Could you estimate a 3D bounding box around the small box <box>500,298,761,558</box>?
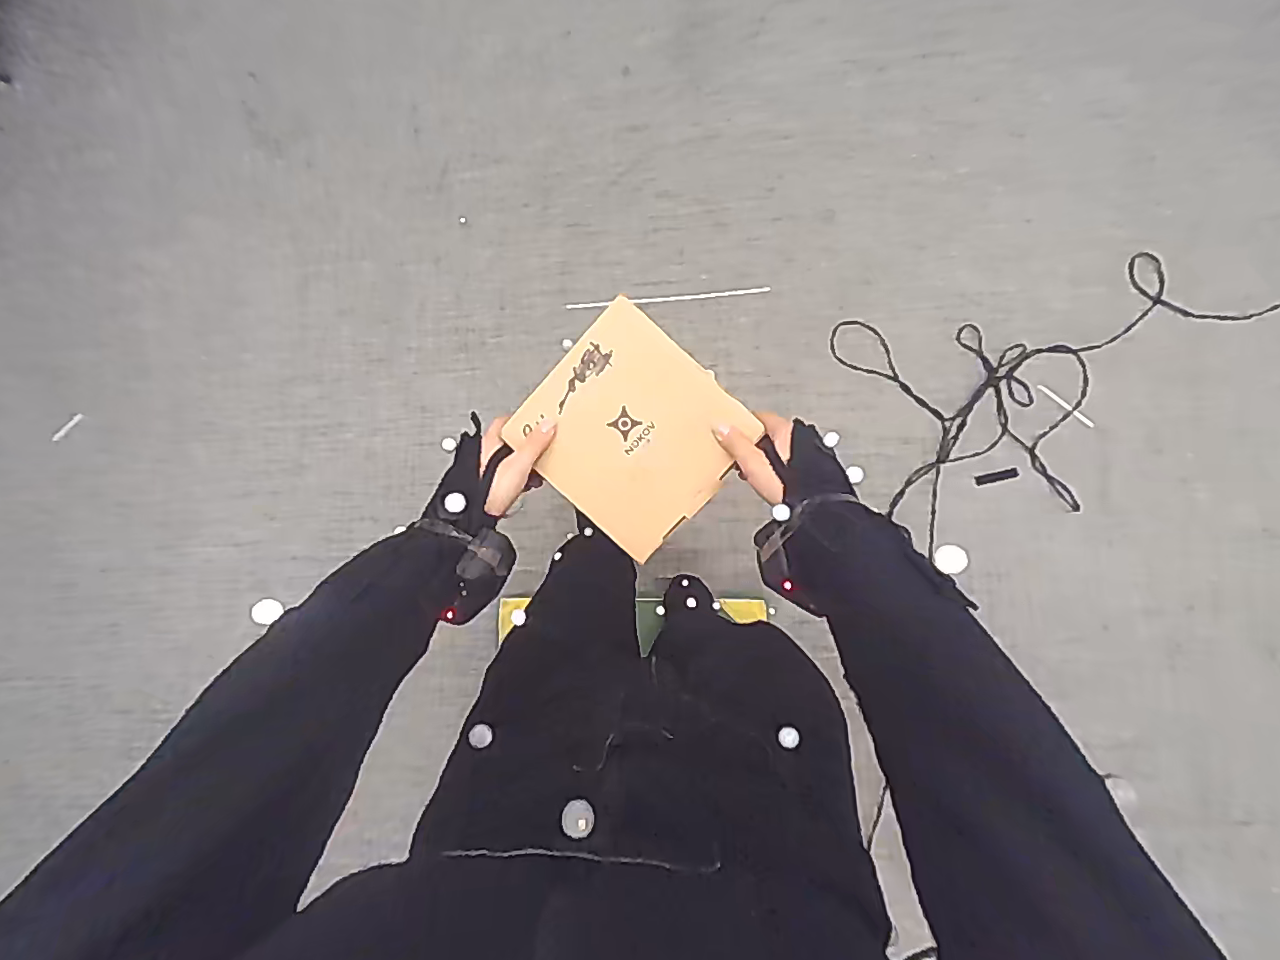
[{"bbox_3d":[-0.006,-0.051,0.557,0.179,0.176,0.168,43,95,-1],"label":"small box"}]
